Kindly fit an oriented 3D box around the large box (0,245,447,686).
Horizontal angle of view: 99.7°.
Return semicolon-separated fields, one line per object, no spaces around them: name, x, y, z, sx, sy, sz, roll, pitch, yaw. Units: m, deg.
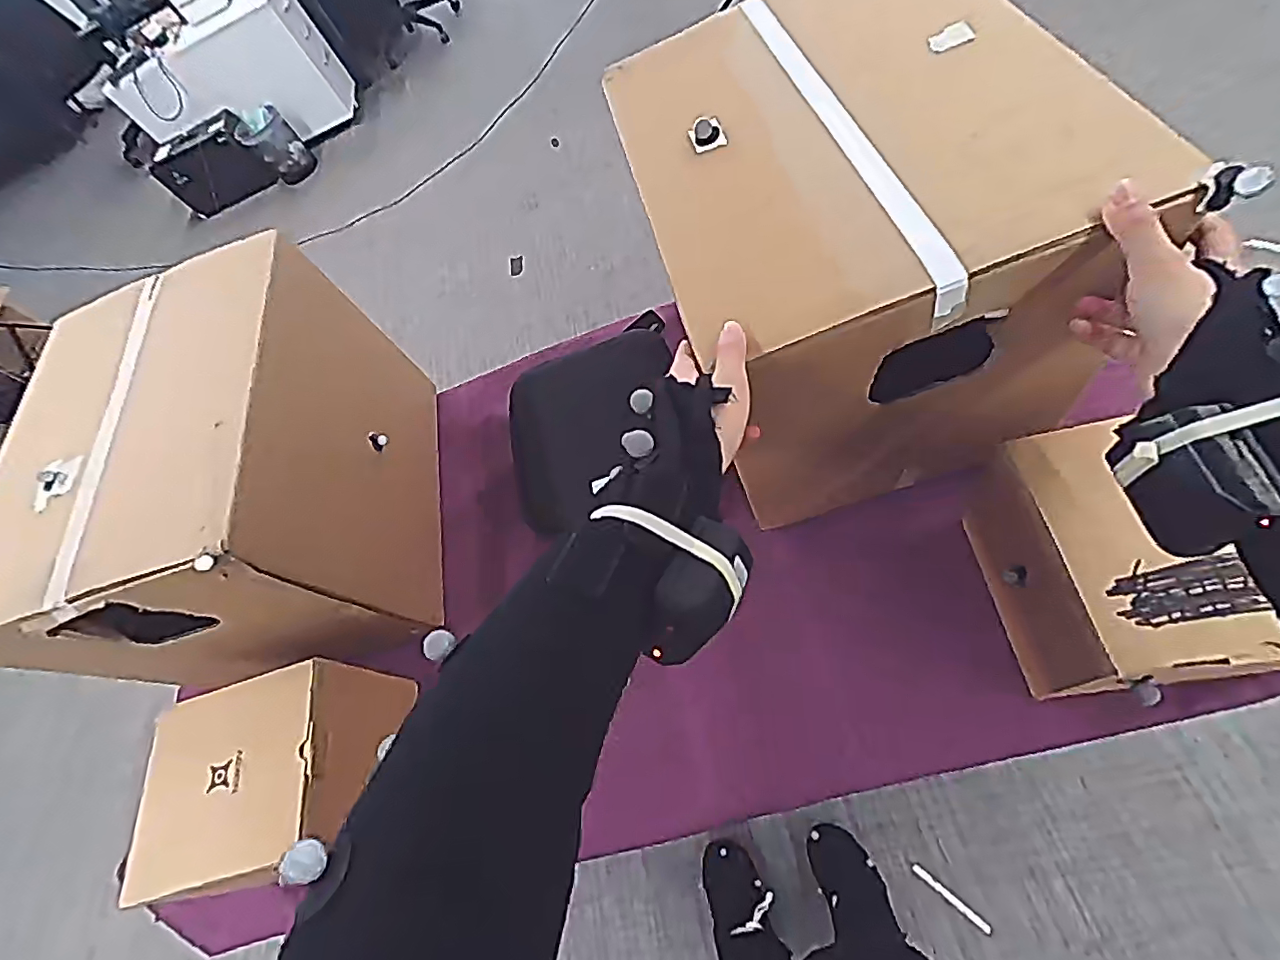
large box;-0.470;0.005;0.675;0.320;0.320;0.408;-19;63;8
